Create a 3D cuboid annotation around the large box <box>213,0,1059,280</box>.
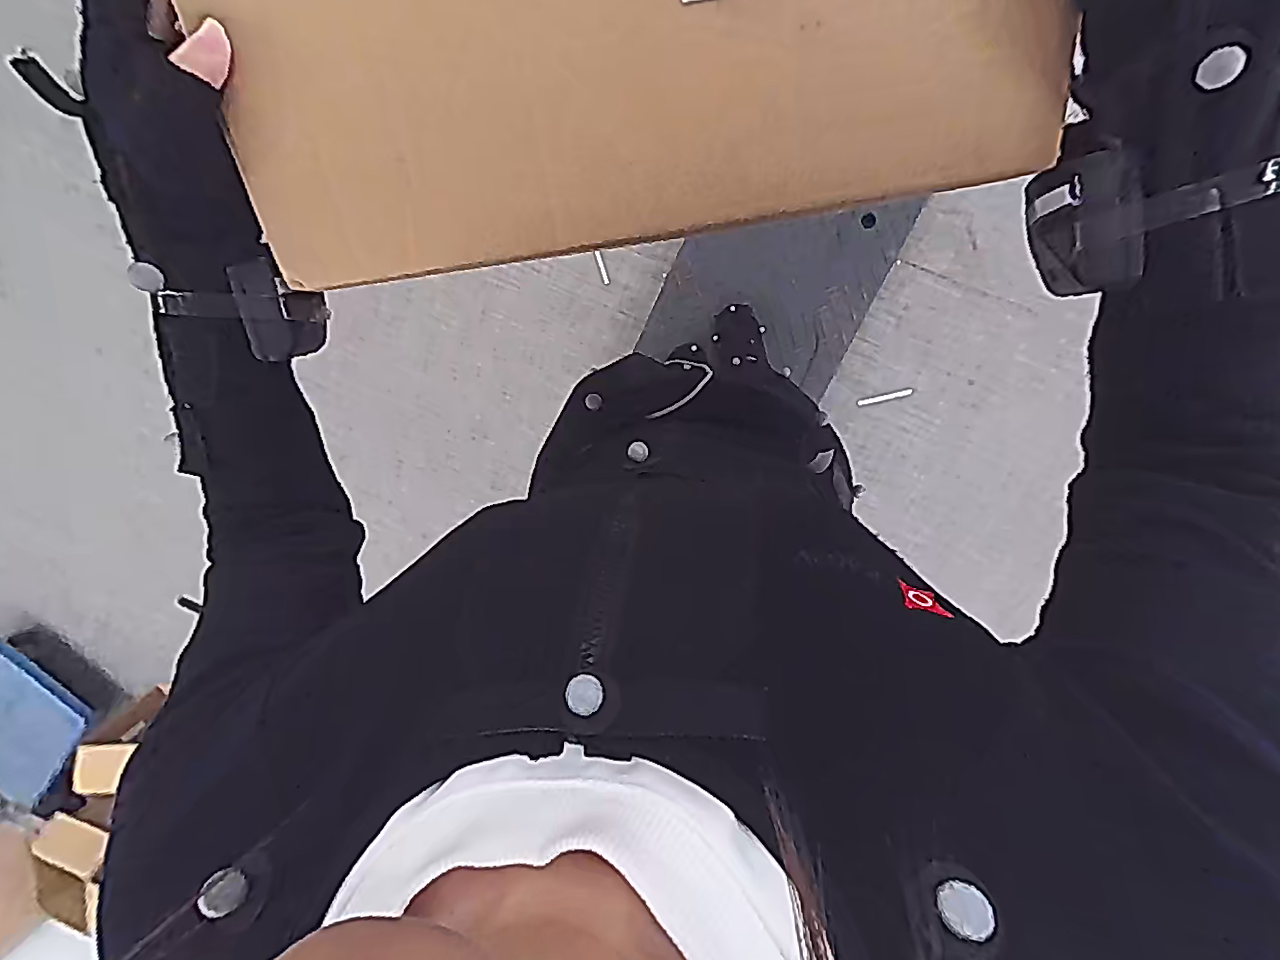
[{"bbox_3d":[-0.007,-0.338,0.369,0.408,0.320,0.320,-5,115,9],"label":"large box"}]
